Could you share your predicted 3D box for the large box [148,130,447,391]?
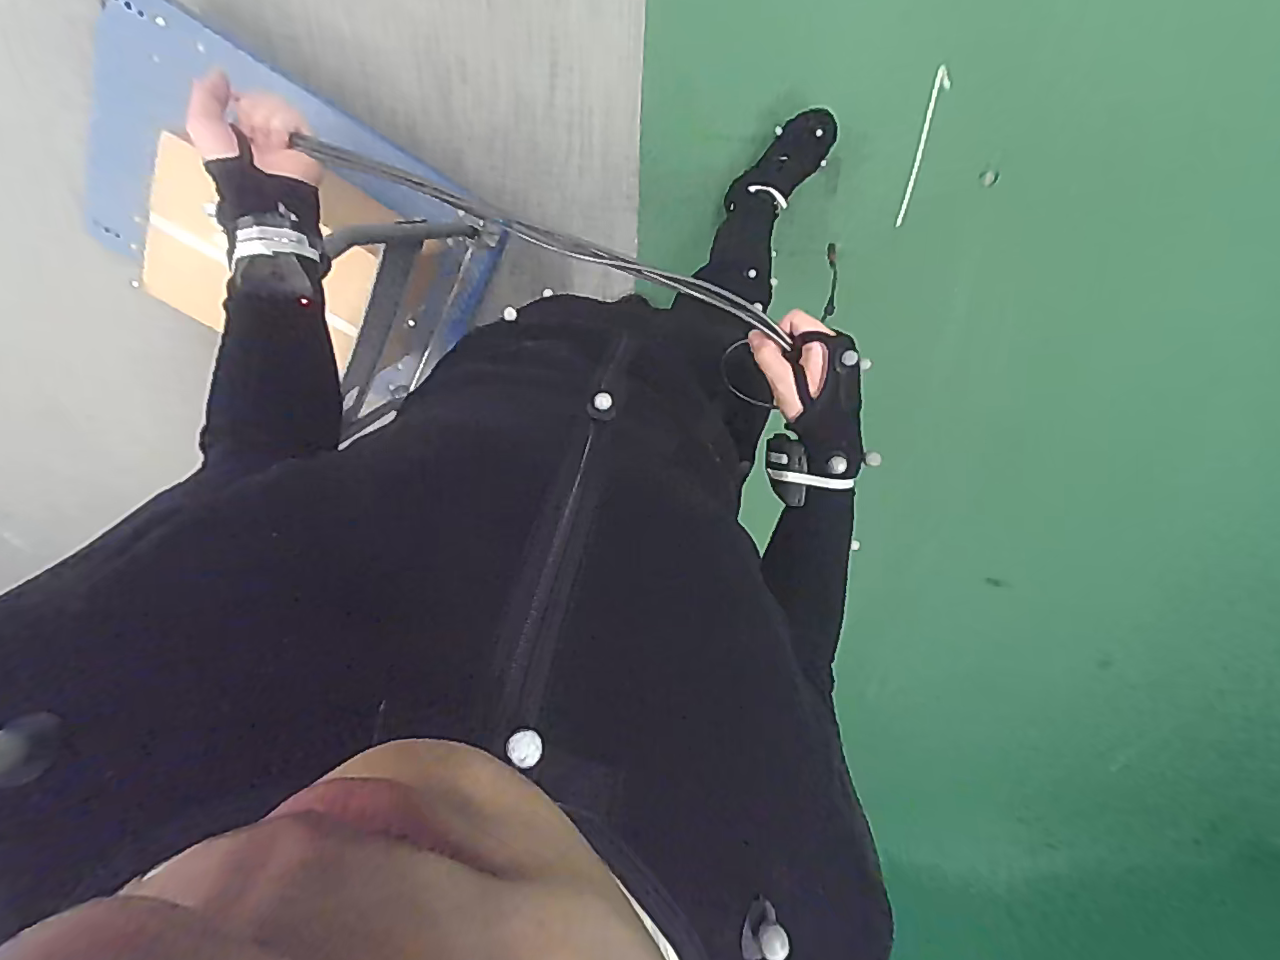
[{"bbox_3d":[-0.694,-0.457,1.144,0.408,0.320,0.320,30,116,-11],"label":"large box"}]
